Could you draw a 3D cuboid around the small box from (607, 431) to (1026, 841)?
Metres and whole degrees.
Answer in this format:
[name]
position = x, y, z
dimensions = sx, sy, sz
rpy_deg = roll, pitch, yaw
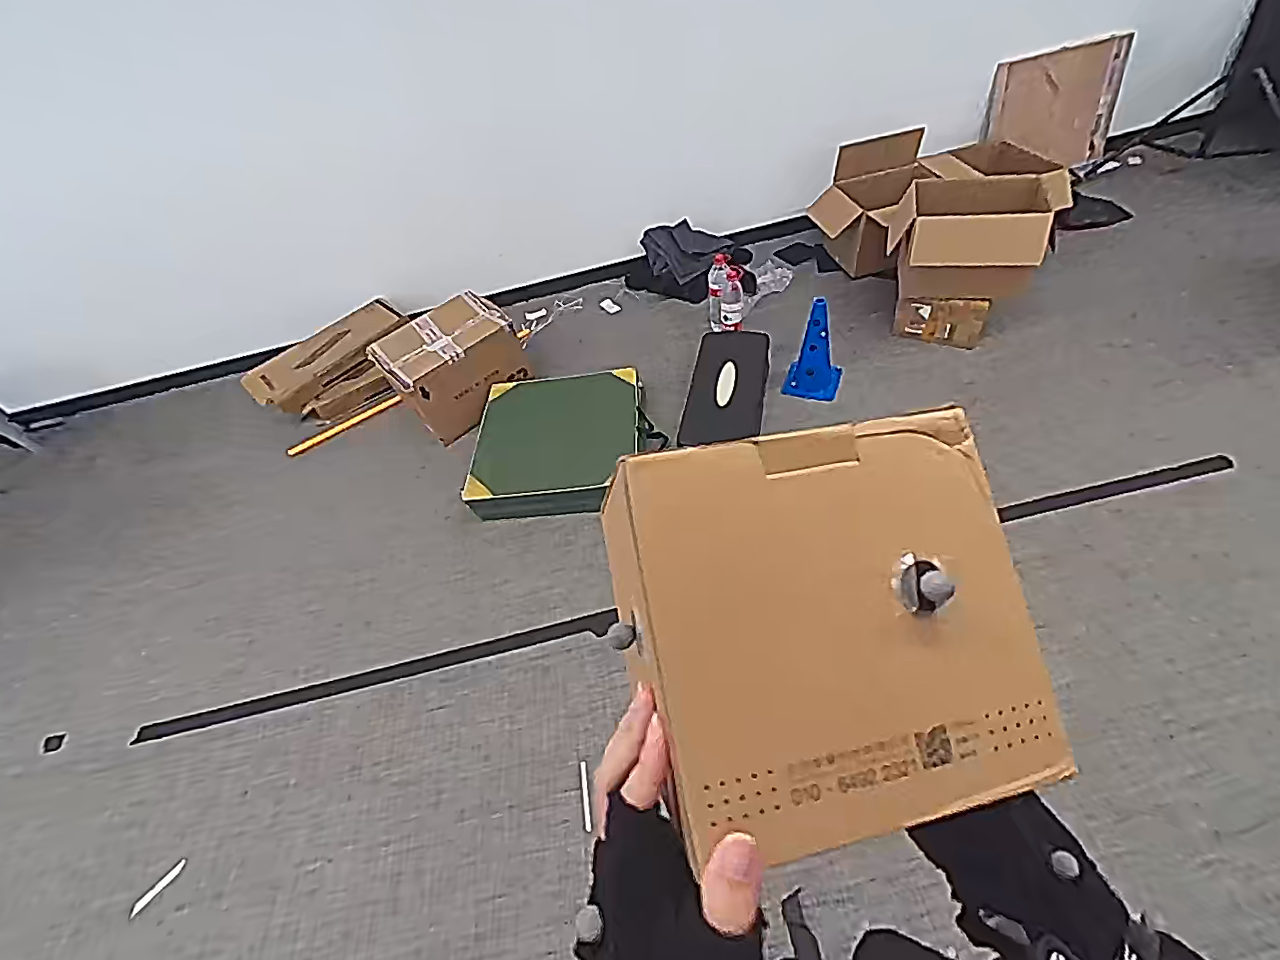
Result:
[small box]
position = 0.079, 0.085, 0.326
dimensions = 0.168, 0.179, 0.176
rpy_deg = -9, 79, -10
